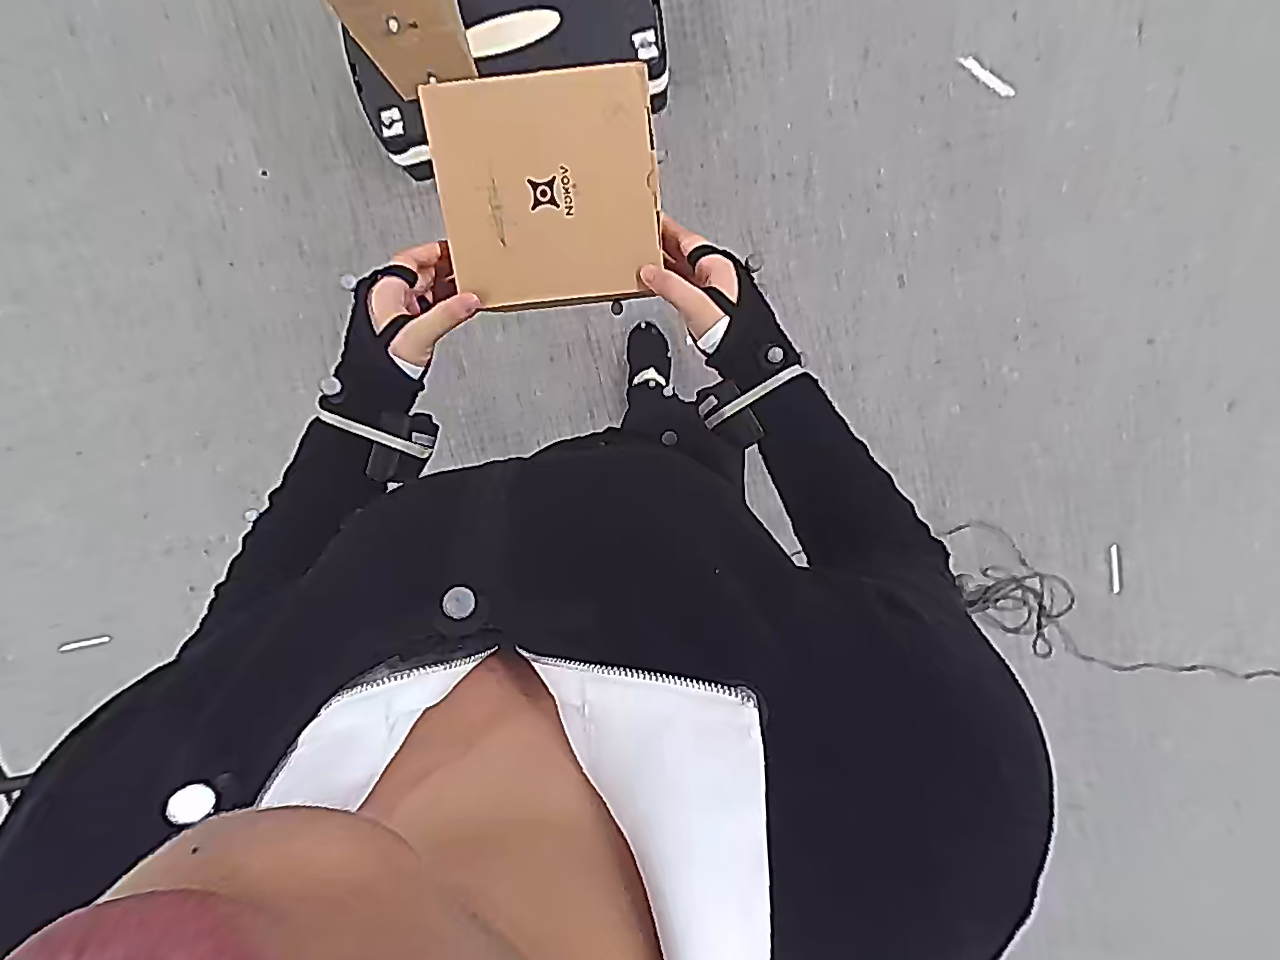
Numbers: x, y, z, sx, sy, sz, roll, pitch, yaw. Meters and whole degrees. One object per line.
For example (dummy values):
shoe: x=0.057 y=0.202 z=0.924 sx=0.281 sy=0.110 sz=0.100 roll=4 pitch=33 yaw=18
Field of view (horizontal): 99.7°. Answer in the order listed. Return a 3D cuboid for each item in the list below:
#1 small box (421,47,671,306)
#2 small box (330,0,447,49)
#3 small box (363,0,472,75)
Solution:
small box: x=-0.072 y=-0.258 z=0.502 sx=0.179 sy=0.176 sz=0.168 roll=-7 pitch=106 yaw=2
small box: x=-0.442 y=-0.864 z=0.879 sx=0.168 sy=0.176 sz=0.179 roll=-16 pitch=100 yaw=3
small box: x=-0.438 y=-0.886 z=1.042 sx=0.168 sy=0.176 sz=0.179 roll=-14 pitch=99 yaw=3
